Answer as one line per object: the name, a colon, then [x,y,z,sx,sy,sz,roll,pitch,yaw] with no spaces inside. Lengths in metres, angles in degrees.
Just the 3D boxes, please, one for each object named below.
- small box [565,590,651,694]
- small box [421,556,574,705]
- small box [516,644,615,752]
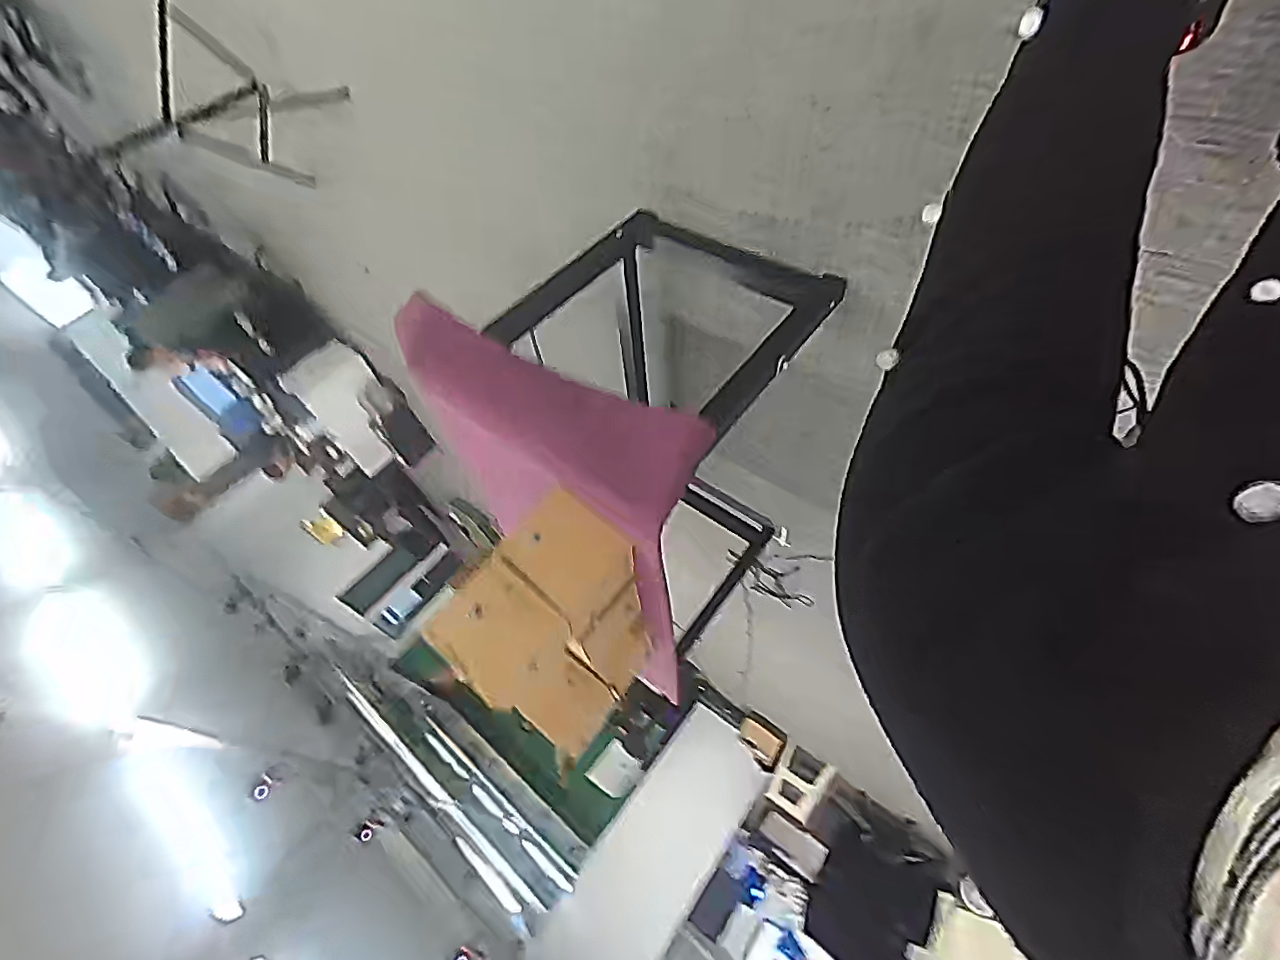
small box: [-0.085,0.418,1.406,0.179,0.176,0.168,31,155,26]
small box: [-0.229,0.254,0.917,0.168,0.176,0.179,39,159,14]
small box: [-0.177,0.535,1.333,0.168,0.176,0.179,31,154,24]
